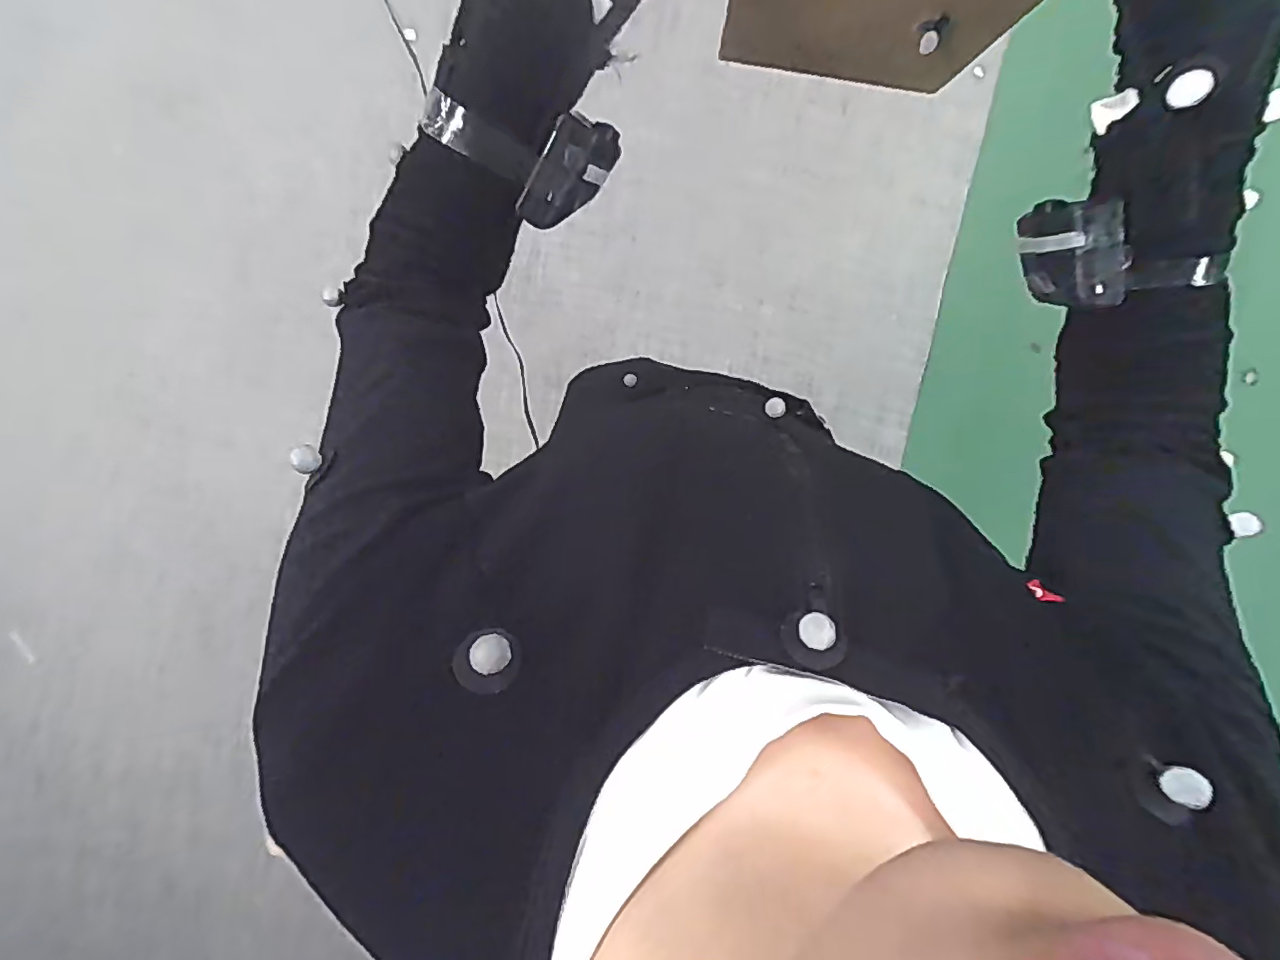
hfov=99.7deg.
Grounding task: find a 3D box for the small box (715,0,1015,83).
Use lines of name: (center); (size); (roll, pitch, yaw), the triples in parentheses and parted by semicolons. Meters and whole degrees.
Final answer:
small box: (0.149, -0.374, 0.327); (0.179, 0.176, 0.168); (8, 105, 2)
